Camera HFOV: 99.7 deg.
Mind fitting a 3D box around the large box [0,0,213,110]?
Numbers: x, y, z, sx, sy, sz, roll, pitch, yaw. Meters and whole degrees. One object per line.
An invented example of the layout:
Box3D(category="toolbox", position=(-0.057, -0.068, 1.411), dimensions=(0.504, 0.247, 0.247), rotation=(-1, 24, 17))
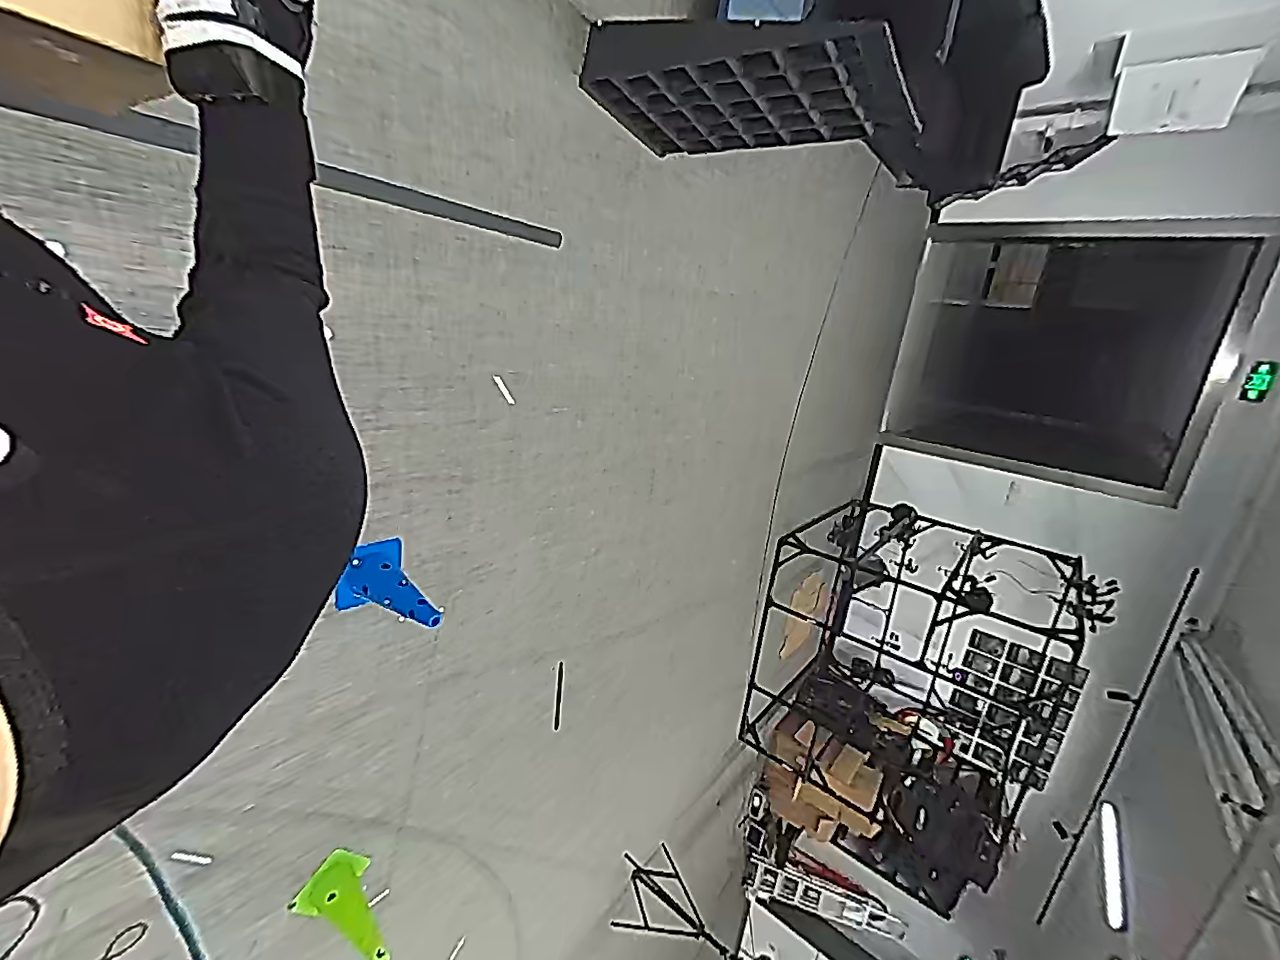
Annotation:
Box3D(category="large box", position=(-0.525, -0.448, 0.274), dimensions=(0.408, 0.320, 0.320), rotation=(-13, 118, -53))

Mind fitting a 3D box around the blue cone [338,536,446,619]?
Box3D(category="blue cone", position=(-0.698, 0.317, 1.568), dimensions=(0.192, 0.380, 0.193), rotation=(-9, 113, -54))

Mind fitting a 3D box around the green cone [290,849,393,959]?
Box3D(category="green cone", position=(-0.914, 1.414, 1.743), dimensions=(0.202, 0.368, 0.200), rotation=(-53, 142, -28))
